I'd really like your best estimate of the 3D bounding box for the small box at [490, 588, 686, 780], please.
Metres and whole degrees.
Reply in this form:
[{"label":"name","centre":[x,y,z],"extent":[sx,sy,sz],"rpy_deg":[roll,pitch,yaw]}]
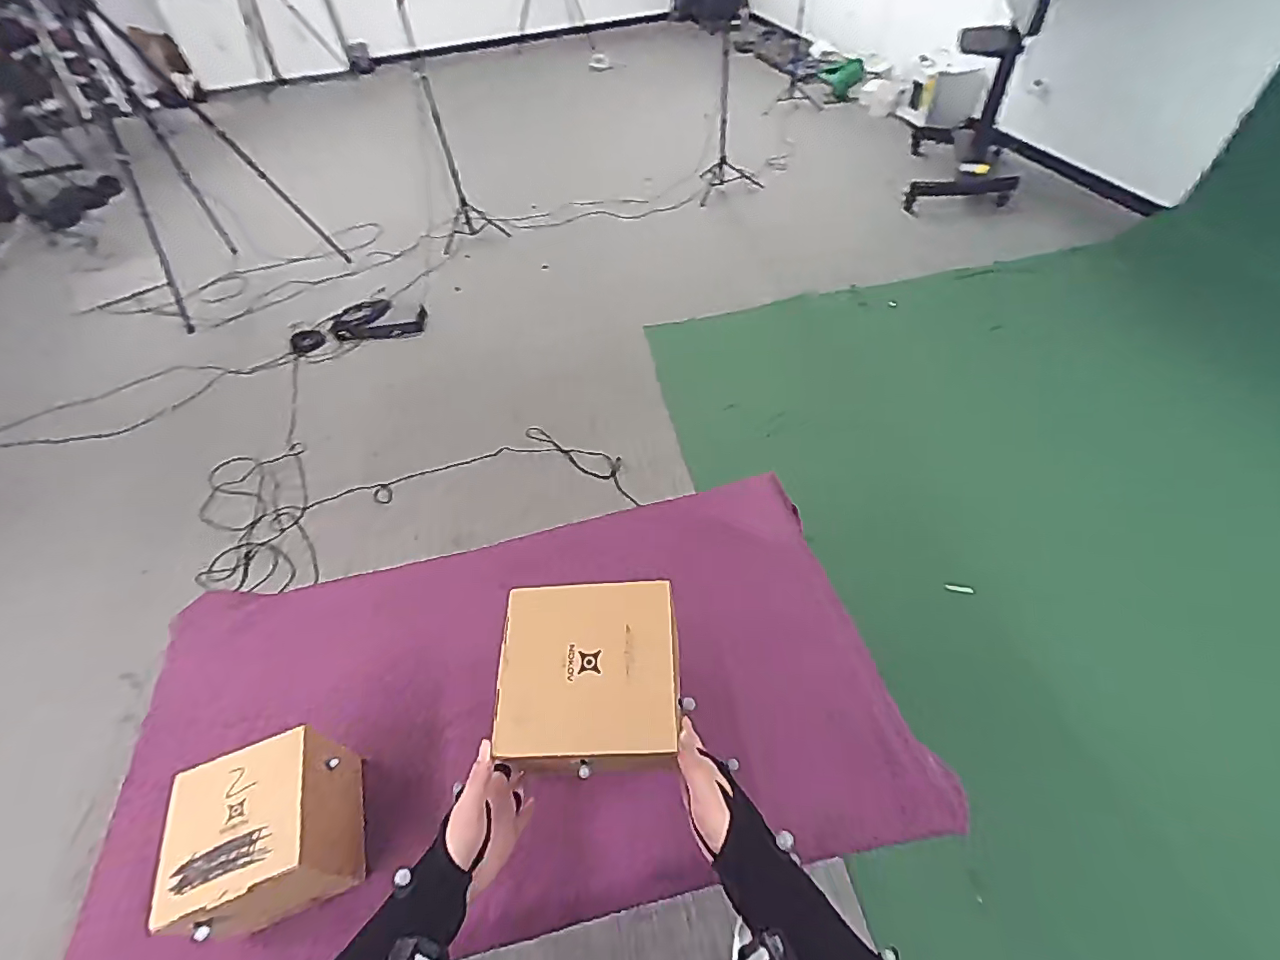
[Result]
[{"label":"small box","centre":[-0.043,0.231,0.597],"extent":[0.179,0.176,0.168],"rpy_deg":[-4,57,5]}]
